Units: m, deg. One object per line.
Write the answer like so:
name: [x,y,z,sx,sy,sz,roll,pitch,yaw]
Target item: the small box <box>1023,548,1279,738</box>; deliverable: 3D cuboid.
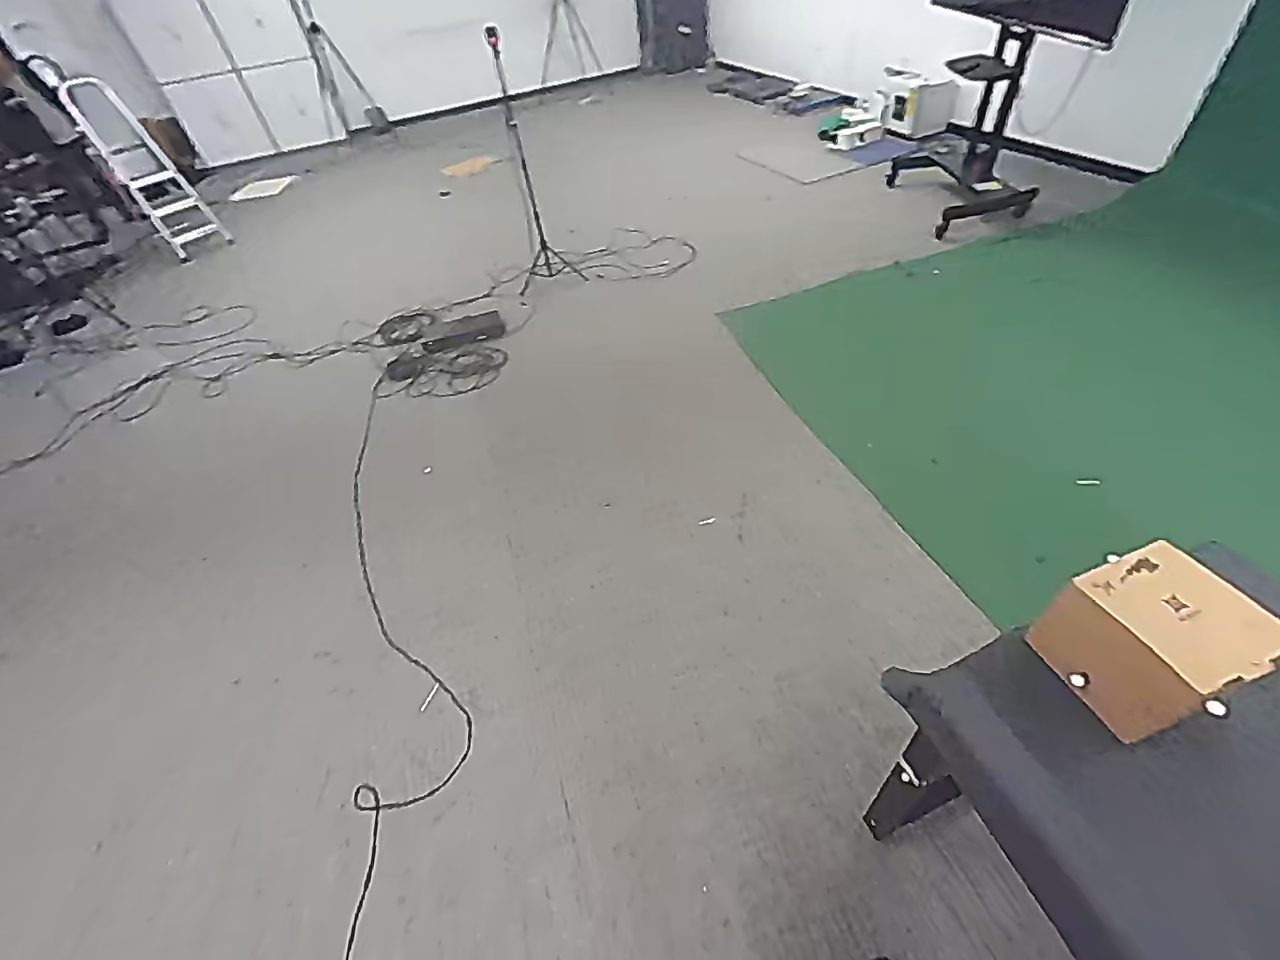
small box: [0.690,0.230,0.745,0.168,0.176,0.179,-17,47,-11]
